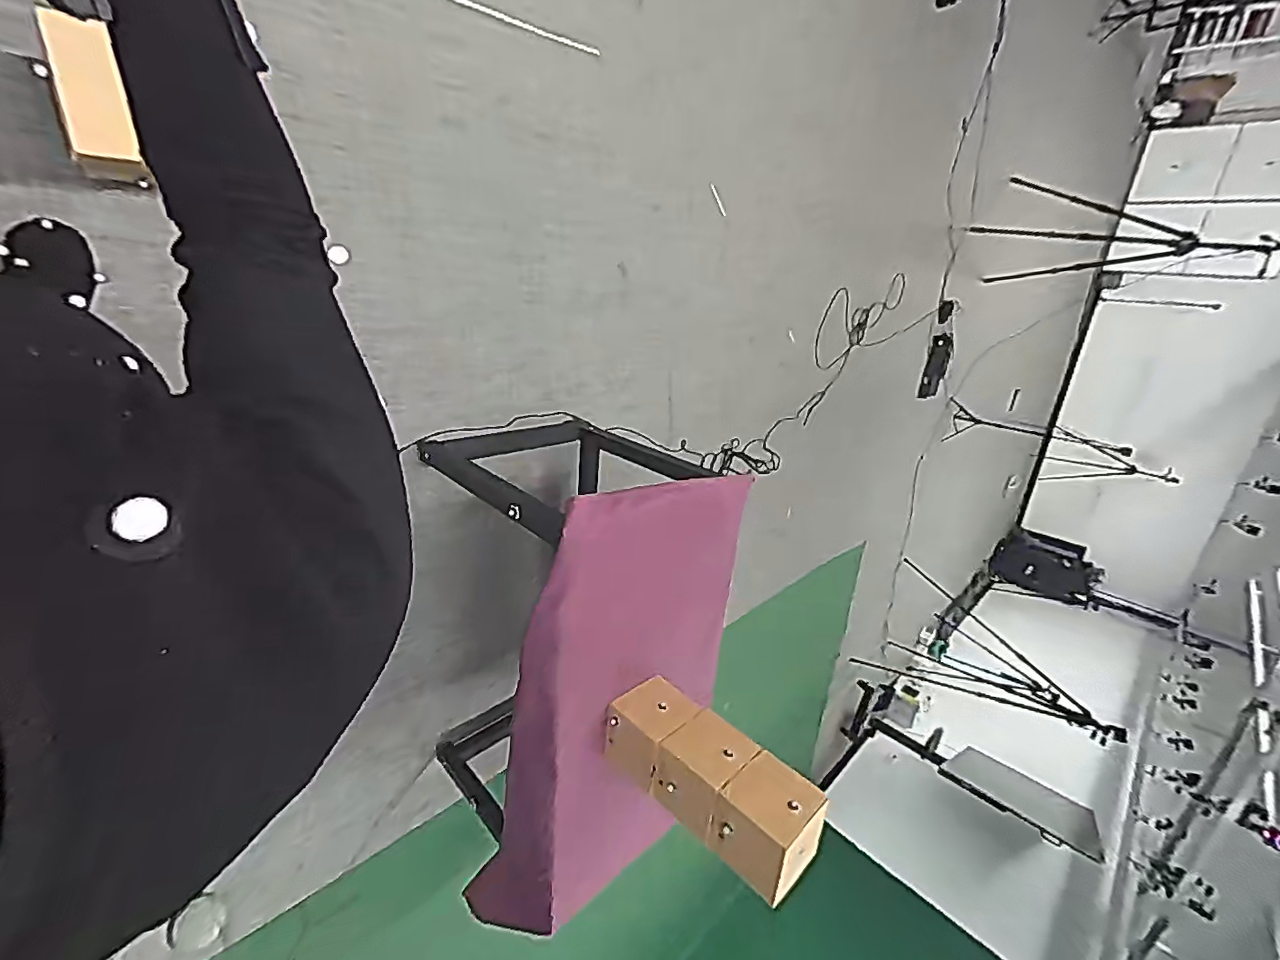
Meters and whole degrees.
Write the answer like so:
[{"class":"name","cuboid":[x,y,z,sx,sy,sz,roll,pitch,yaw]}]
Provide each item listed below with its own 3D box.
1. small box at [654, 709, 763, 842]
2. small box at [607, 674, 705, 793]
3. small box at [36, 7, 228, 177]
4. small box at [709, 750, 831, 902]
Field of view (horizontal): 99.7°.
[{"class":"small box","cuboid":[0.156,0.669,1.249,0.179,0.176,0.168,-13,116,-42]},{"class":"small box","cuboid":[0.036,0.623,1.352,0.179,0.176,0.168,-14,117,-43]},{"class":"small box","cuboid":[-0.766,-0.570,0.825,0.179,0.176,0.168,-17,120,-42]},{"class":"small box","cuboid":[0.272,0.717,1.145,0.179,0.176,0.168,-14,116,-42]}]
